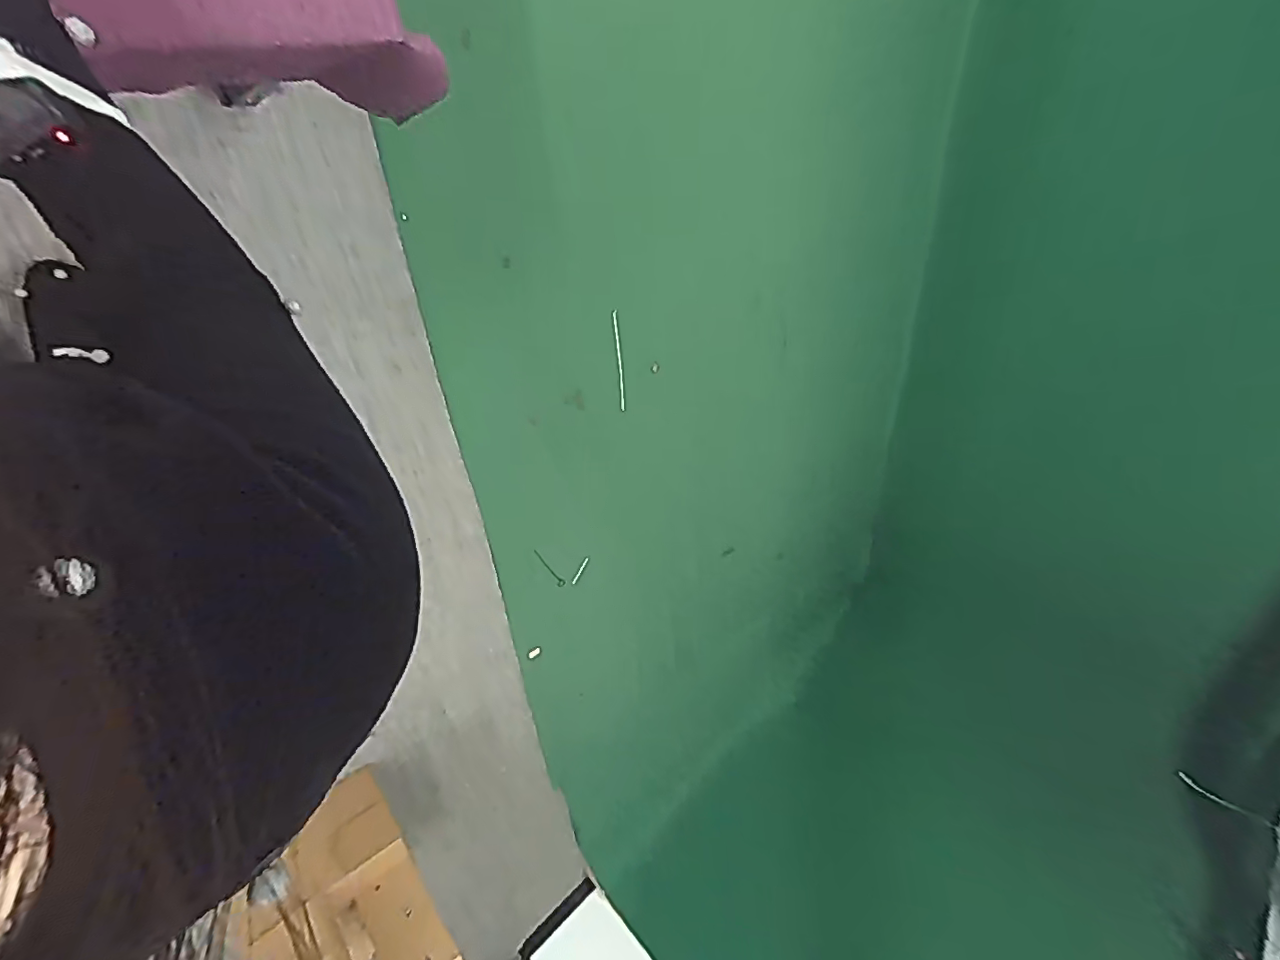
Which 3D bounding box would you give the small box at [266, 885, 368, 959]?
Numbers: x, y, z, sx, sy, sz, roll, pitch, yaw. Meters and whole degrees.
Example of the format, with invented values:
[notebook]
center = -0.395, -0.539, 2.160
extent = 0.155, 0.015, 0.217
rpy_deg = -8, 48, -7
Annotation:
[small box]
center = -0.856, 1.238, 1.429
extent = 0.179, 0.176, 0.168
rpy_deg = -28, 130, -34
